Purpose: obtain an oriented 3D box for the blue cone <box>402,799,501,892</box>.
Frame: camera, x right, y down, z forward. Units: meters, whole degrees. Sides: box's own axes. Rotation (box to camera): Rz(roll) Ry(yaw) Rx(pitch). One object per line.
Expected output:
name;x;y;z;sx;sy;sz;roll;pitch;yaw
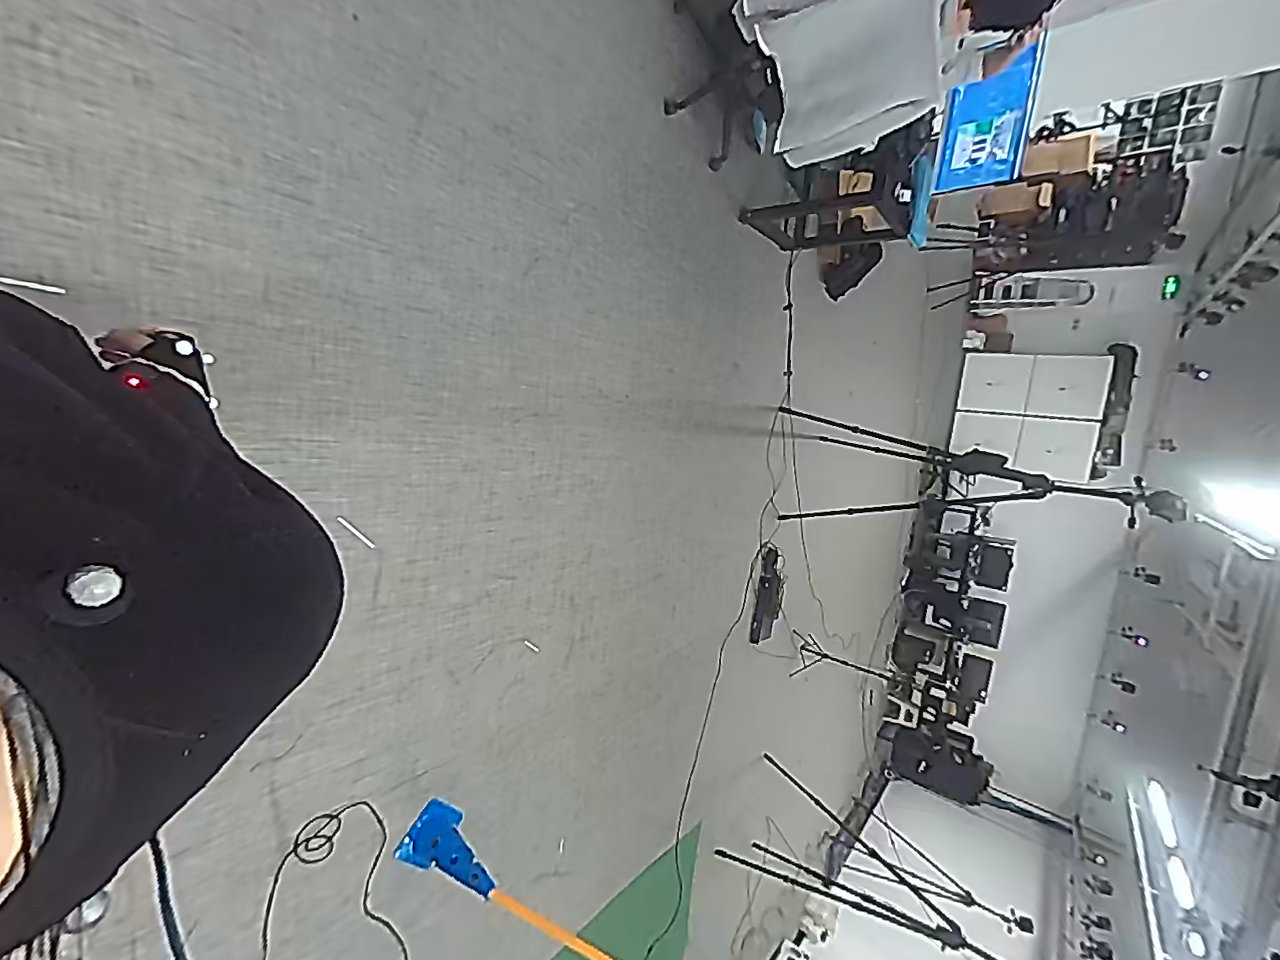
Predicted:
blue cone;-0.602;1.258;1.811;0.193;0.380;0.192;-57;137;-29
